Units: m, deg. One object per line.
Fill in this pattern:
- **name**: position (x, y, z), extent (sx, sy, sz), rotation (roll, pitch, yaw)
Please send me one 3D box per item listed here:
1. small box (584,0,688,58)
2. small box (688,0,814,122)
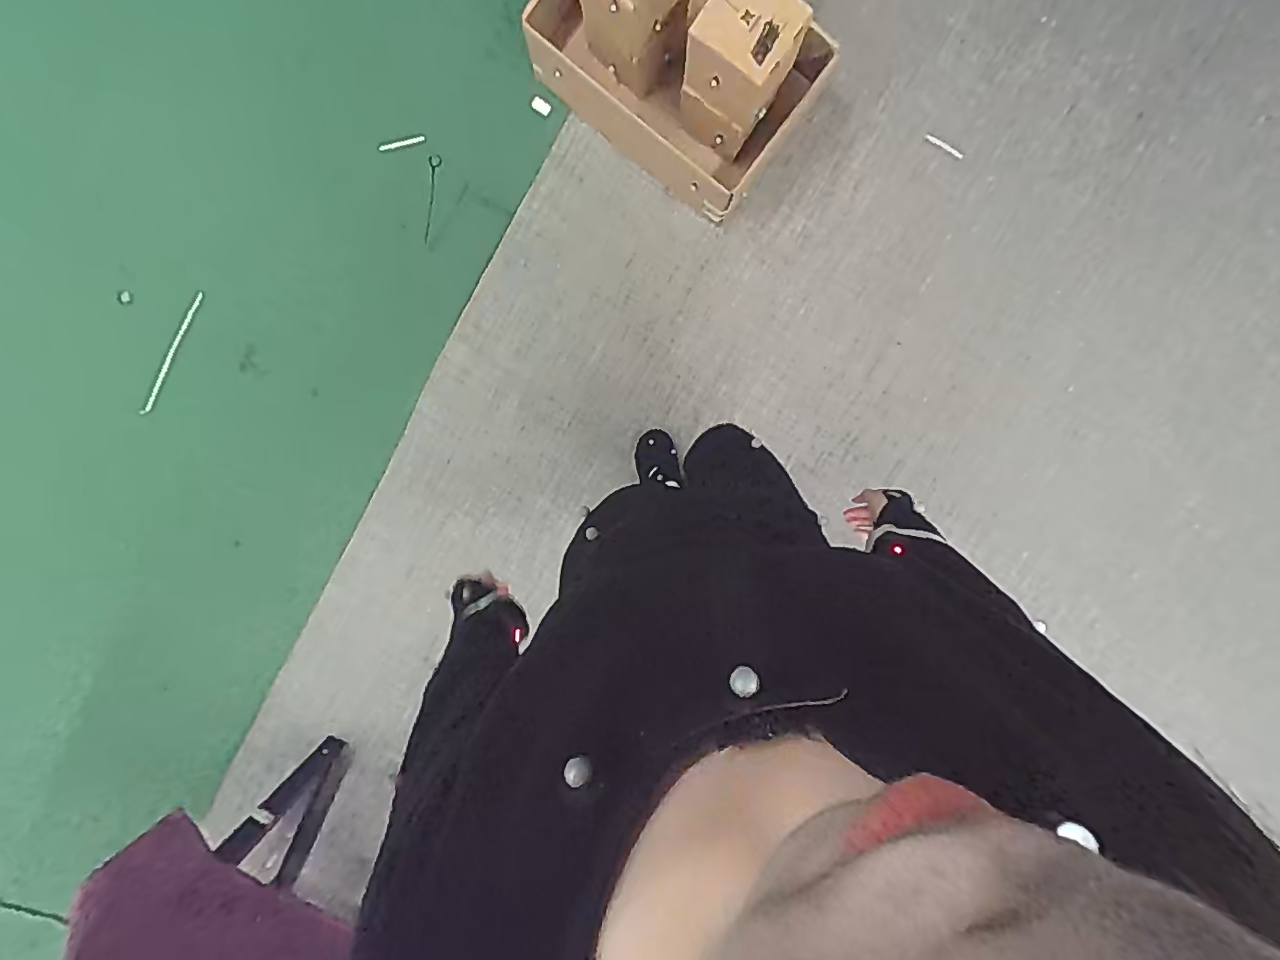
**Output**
- **small box**: position (-0.013, -1.016, 1.086), extent (0.168, 0.176, 0.179), rotation (-42, 97, 5)
- **small box**: position (0.214, -0.871, 1.093), extent (0.179, 0.176, 0.168), rotation (36, 97, -1)
